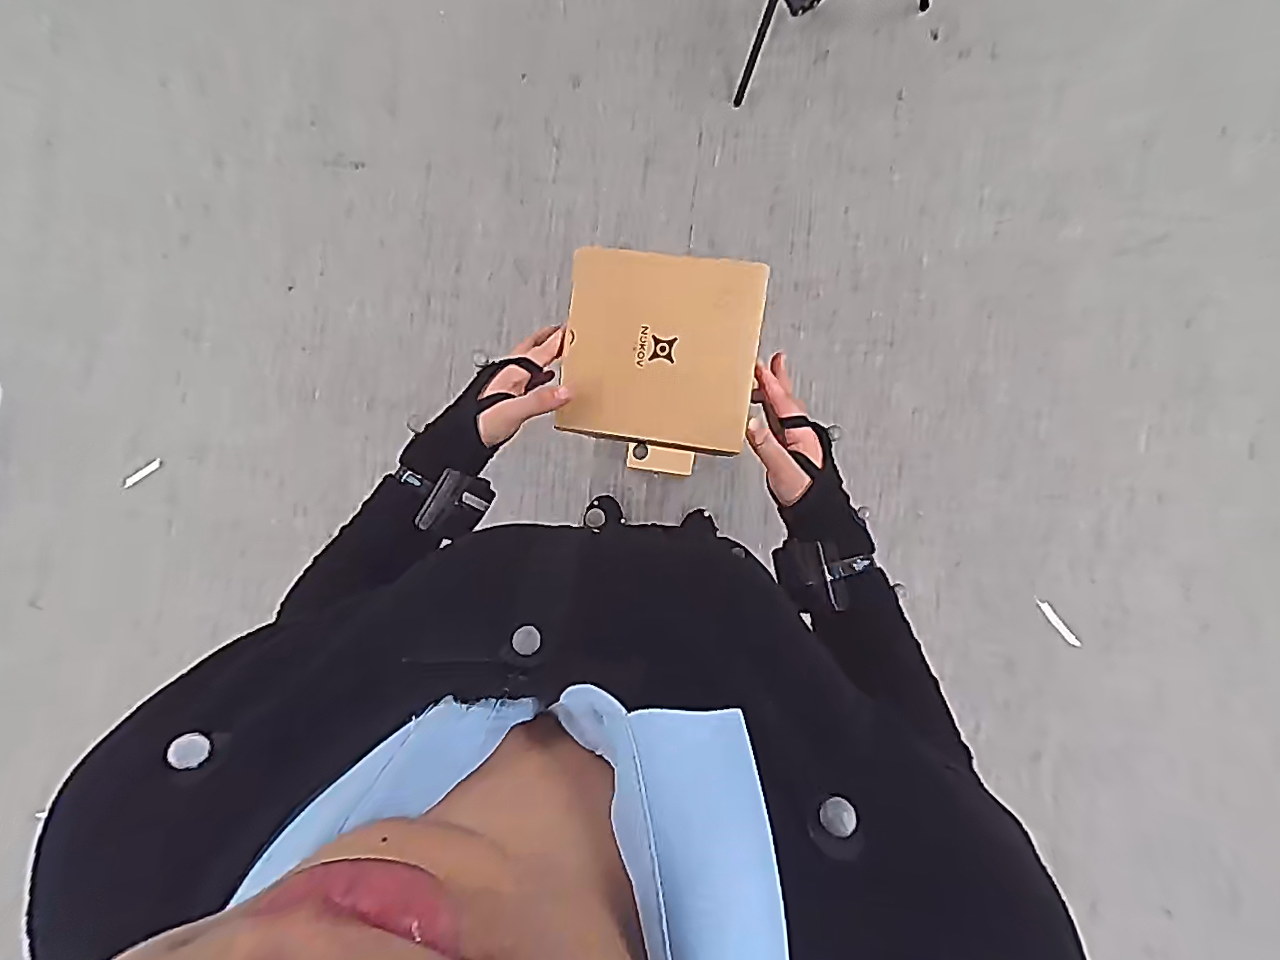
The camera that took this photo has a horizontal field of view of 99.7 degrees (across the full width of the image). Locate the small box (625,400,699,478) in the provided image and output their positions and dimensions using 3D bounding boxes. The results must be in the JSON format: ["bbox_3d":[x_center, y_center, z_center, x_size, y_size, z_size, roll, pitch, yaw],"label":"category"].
[{"bbox_3d":[0.059,-0.102,1.429,0.168,0.176,0.179,9,88,3],"label":"small box"}]
